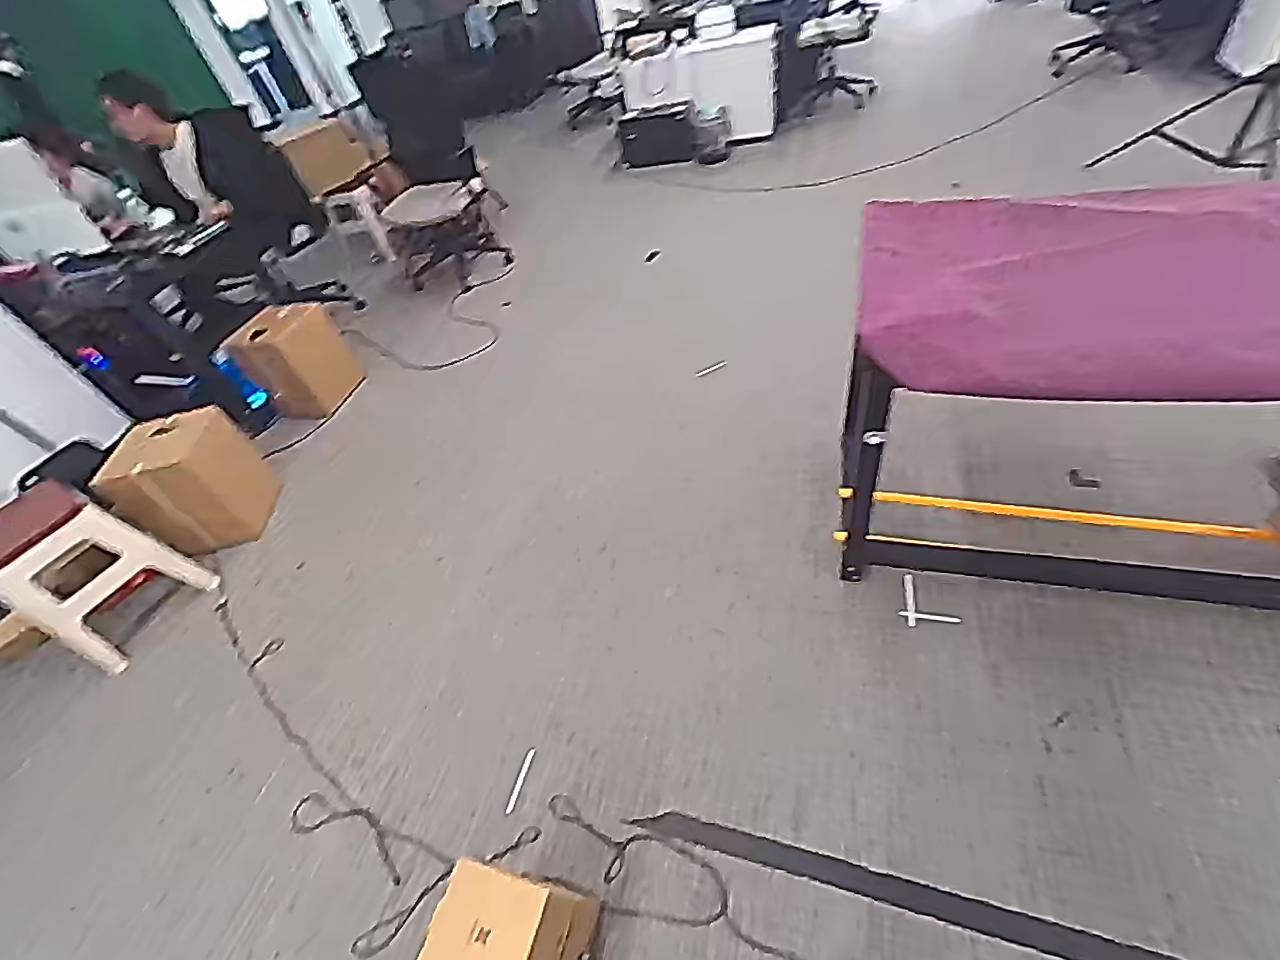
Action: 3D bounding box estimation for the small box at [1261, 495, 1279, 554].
[{"bbox_3d":[1.480,0.099,1.125,0.168,0.176,0.179,4,49,19],"label":"small box"}]

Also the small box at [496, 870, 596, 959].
[{"bbox_3d":[-0.203,0.859,1.006,0.179,0.176,0.168,6,52,19],"label":"small box"}]

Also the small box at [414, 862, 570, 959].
[{"bbox_3d":[-0.235,0.755,0.885,0.179,0.176,0.168,5,51,19],"label":"small box"}]
